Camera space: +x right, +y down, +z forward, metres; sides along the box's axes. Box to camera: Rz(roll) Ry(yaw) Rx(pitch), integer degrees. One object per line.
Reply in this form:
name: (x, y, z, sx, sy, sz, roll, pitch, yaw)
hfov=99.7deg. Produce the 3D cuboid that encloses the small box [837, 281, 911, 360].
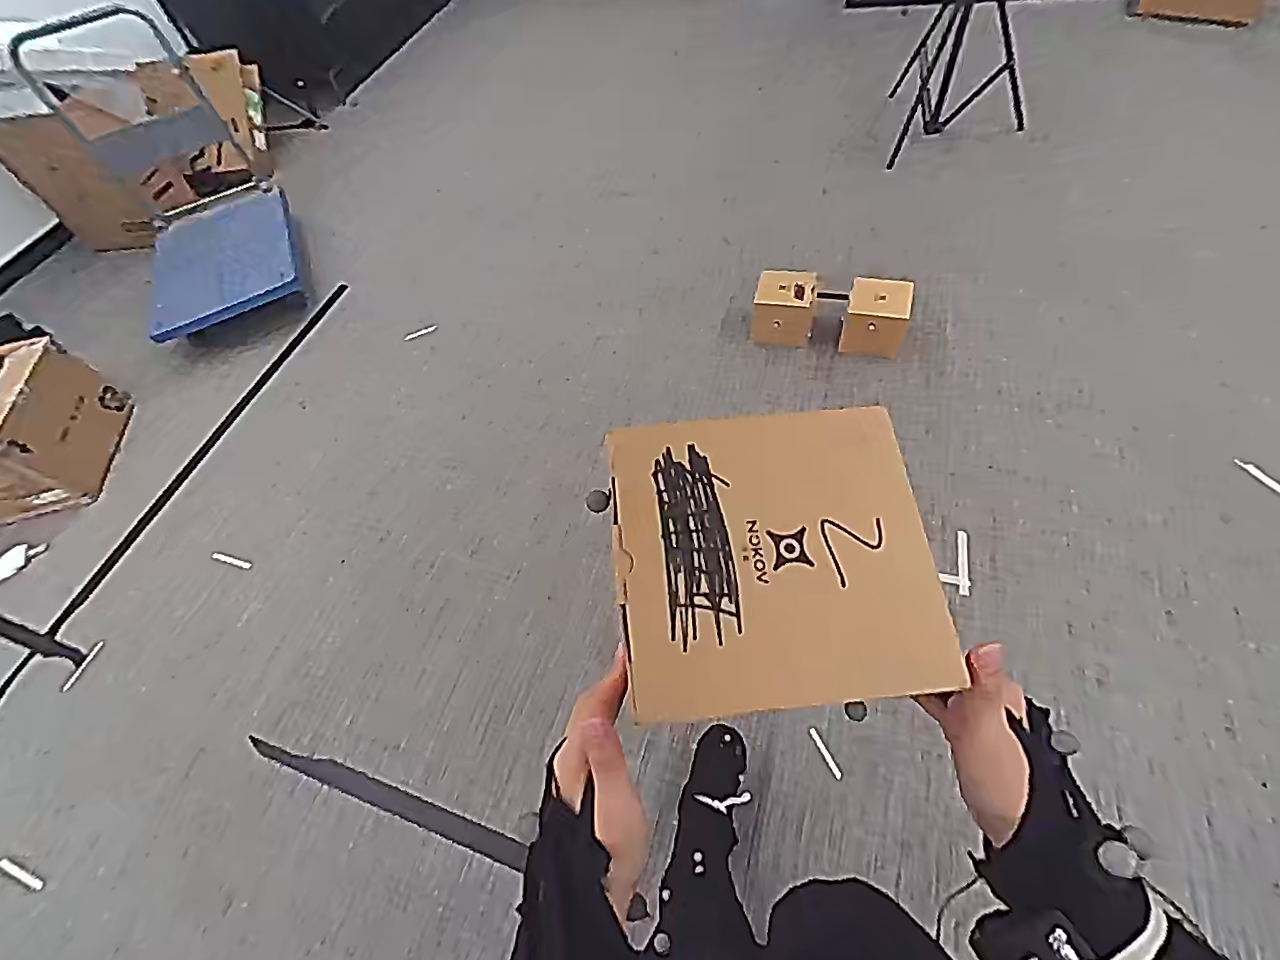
small box: (0.739, -0.504, 1.717, 0.179, 0.176, 0.168, 12, 61, 17)

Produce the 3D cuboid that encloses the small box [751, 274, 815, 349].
small box: (0.470, -0.556, 1.794, 0.179, 0.176, 0.168, 10, 60, 17)
